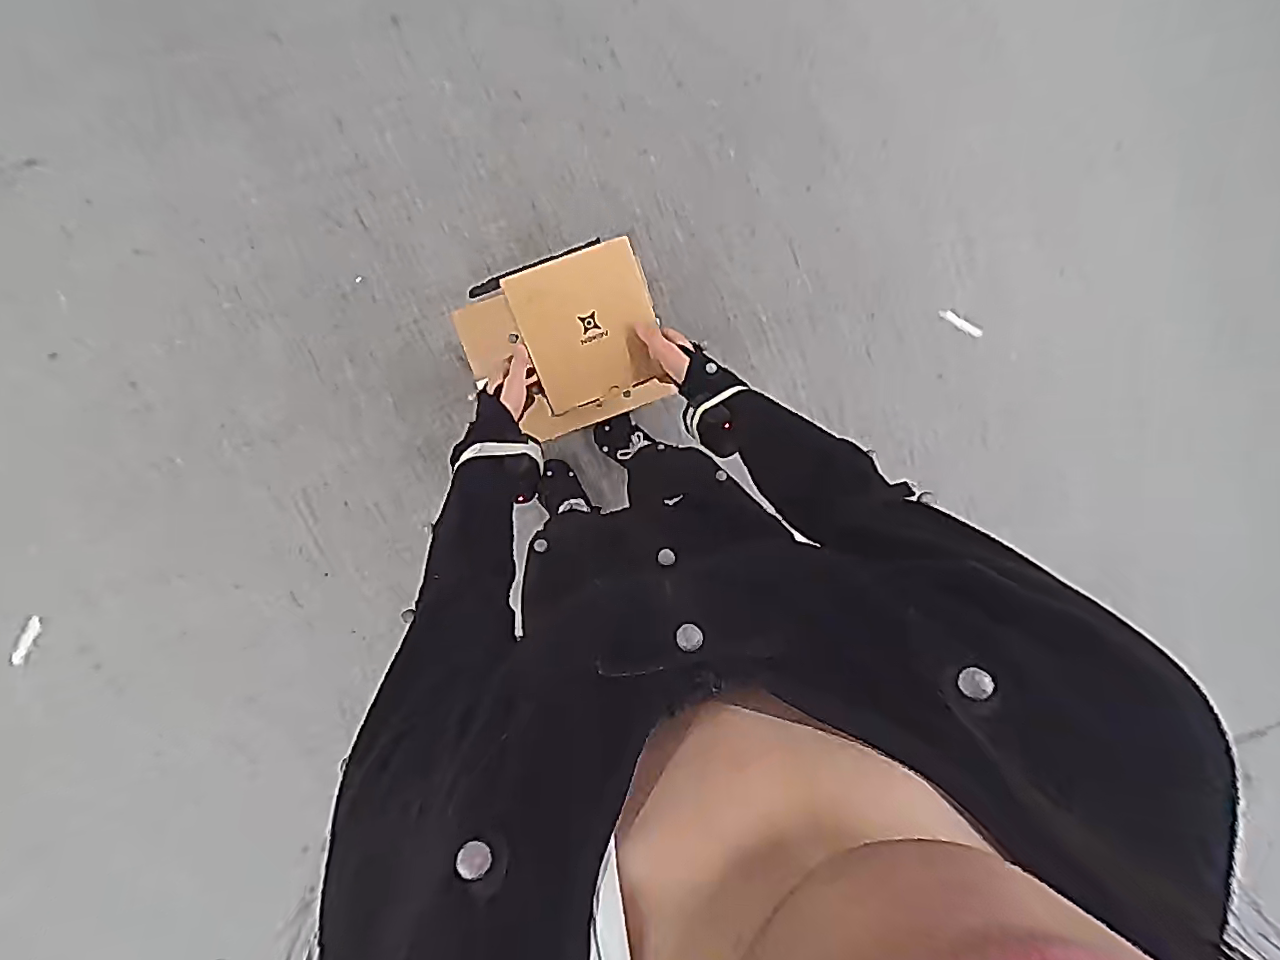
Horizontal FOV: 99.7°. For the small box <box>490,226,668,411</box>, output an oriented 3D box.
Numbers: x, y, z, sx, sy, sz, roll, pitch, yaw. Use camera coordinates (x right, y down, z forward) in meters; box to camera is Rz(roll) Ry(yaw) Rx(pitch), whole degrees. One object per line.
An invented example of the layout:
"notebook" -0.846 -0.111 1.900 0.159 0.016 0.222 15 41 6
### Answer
"small box" -0.087 -0.207 0.738 0.168 0.176 0.179 -28 103 -6
